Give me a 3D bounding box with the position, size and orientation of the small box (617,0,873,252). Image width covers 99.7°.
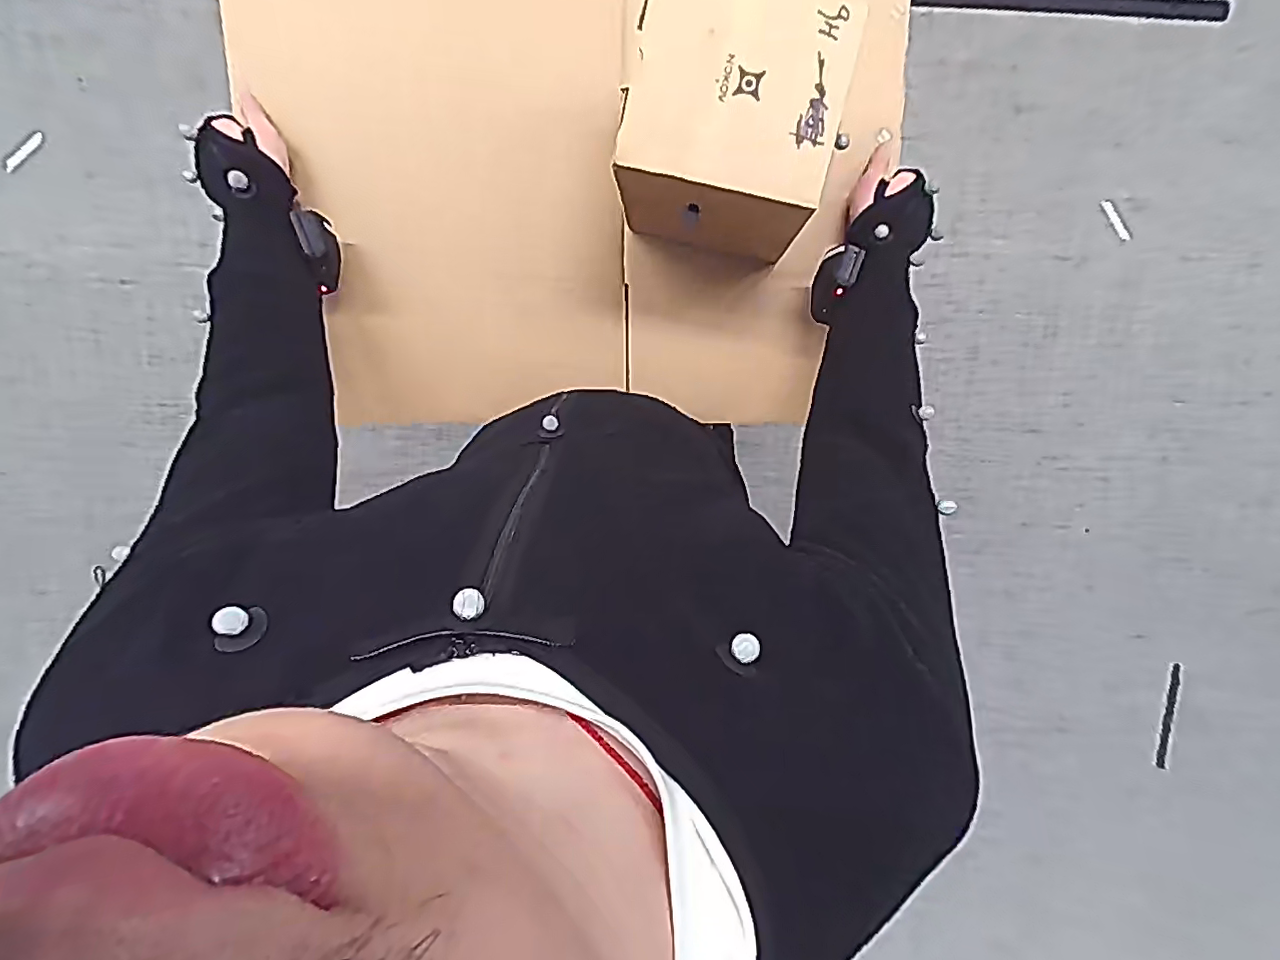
[{"bbox_3d":[0.089,-0.337,0.518,0.179,0.176,0.168,13,99,2],"label":"small box"}]
